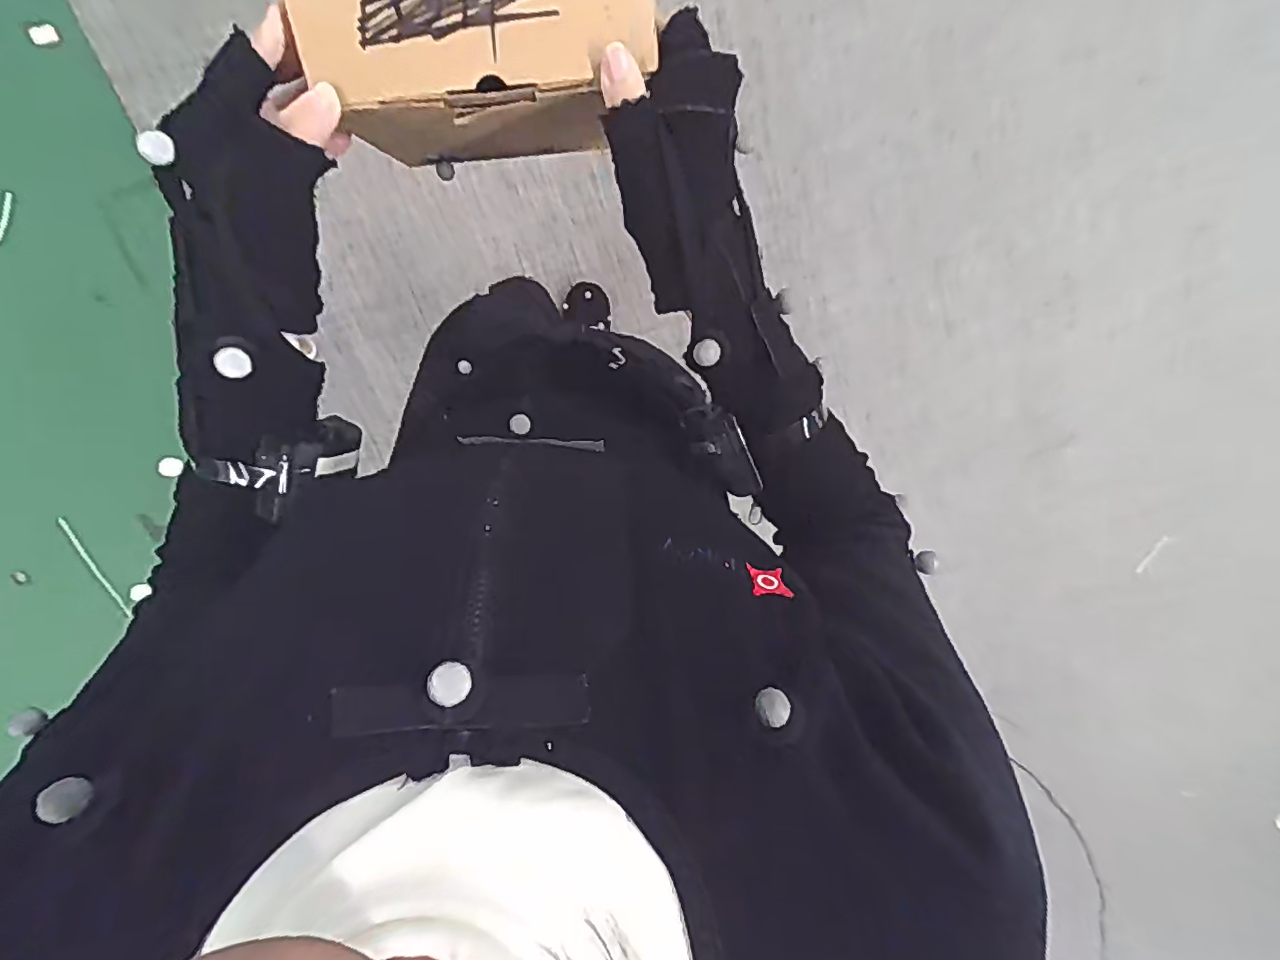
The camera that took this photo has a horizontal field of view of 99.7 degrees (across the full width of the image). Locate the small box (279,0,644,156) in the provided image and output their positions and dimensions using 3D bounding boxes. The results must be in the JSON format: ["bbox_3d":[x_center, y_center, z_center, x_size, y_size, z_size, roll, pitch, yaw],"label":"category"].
[{"bbox_3d":[-0.093,-0.296,0.302,0.168,0.176,0.179,-8,112,-3],"label":"small box"}]
